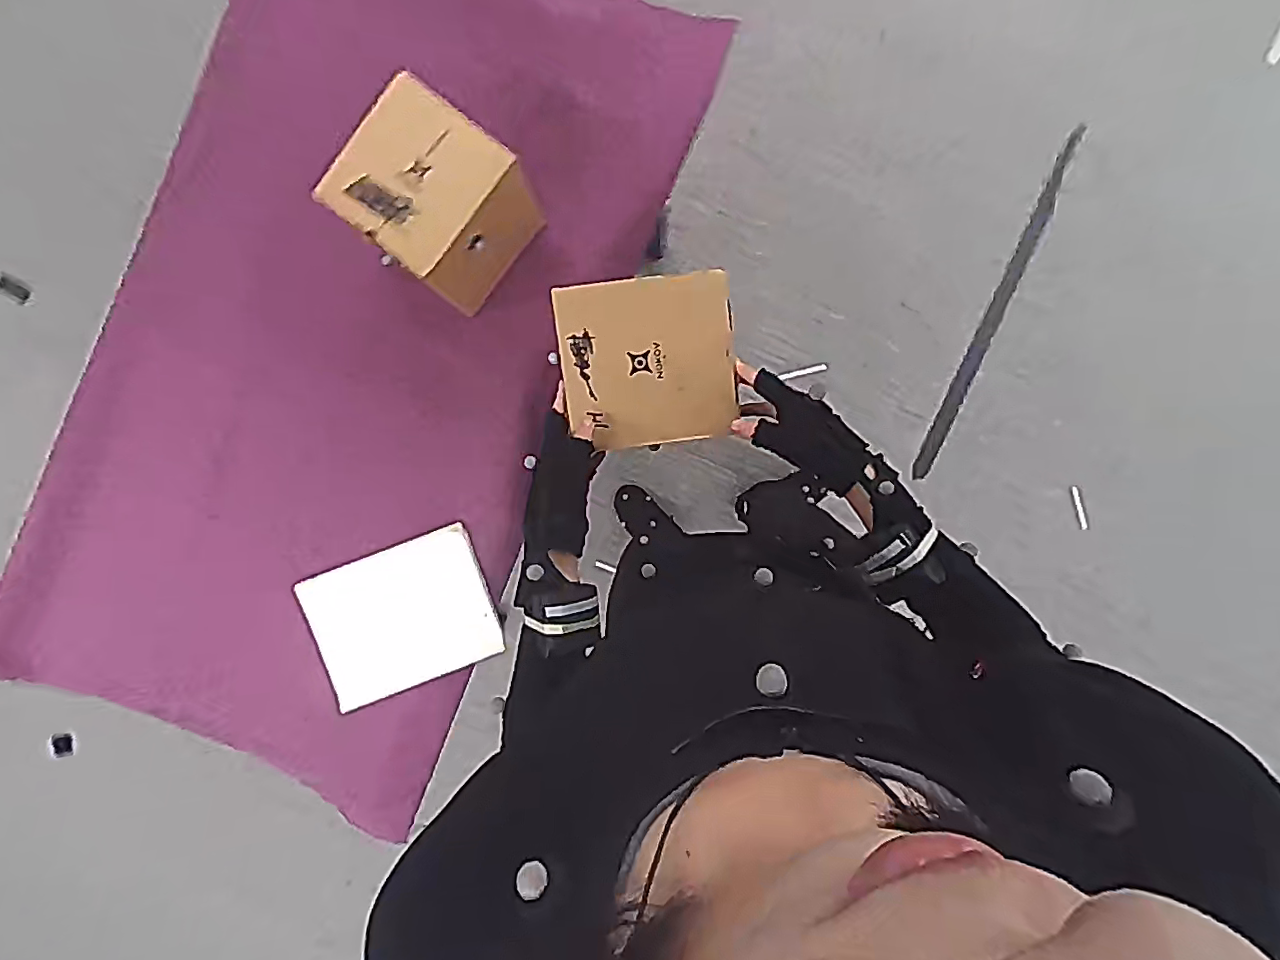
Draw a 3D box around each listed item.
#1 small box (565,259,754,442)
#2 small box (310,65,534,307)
[{"bbox_3d":[0.018,-0.136,0.606,0.179,0.176,0.168,-6,97,-1],"label":"small box"},{"bbox_3d":[-0.258,-0.352,0.689,0.168,0.176,0.179,38,92,1],"label":"small box"}]
